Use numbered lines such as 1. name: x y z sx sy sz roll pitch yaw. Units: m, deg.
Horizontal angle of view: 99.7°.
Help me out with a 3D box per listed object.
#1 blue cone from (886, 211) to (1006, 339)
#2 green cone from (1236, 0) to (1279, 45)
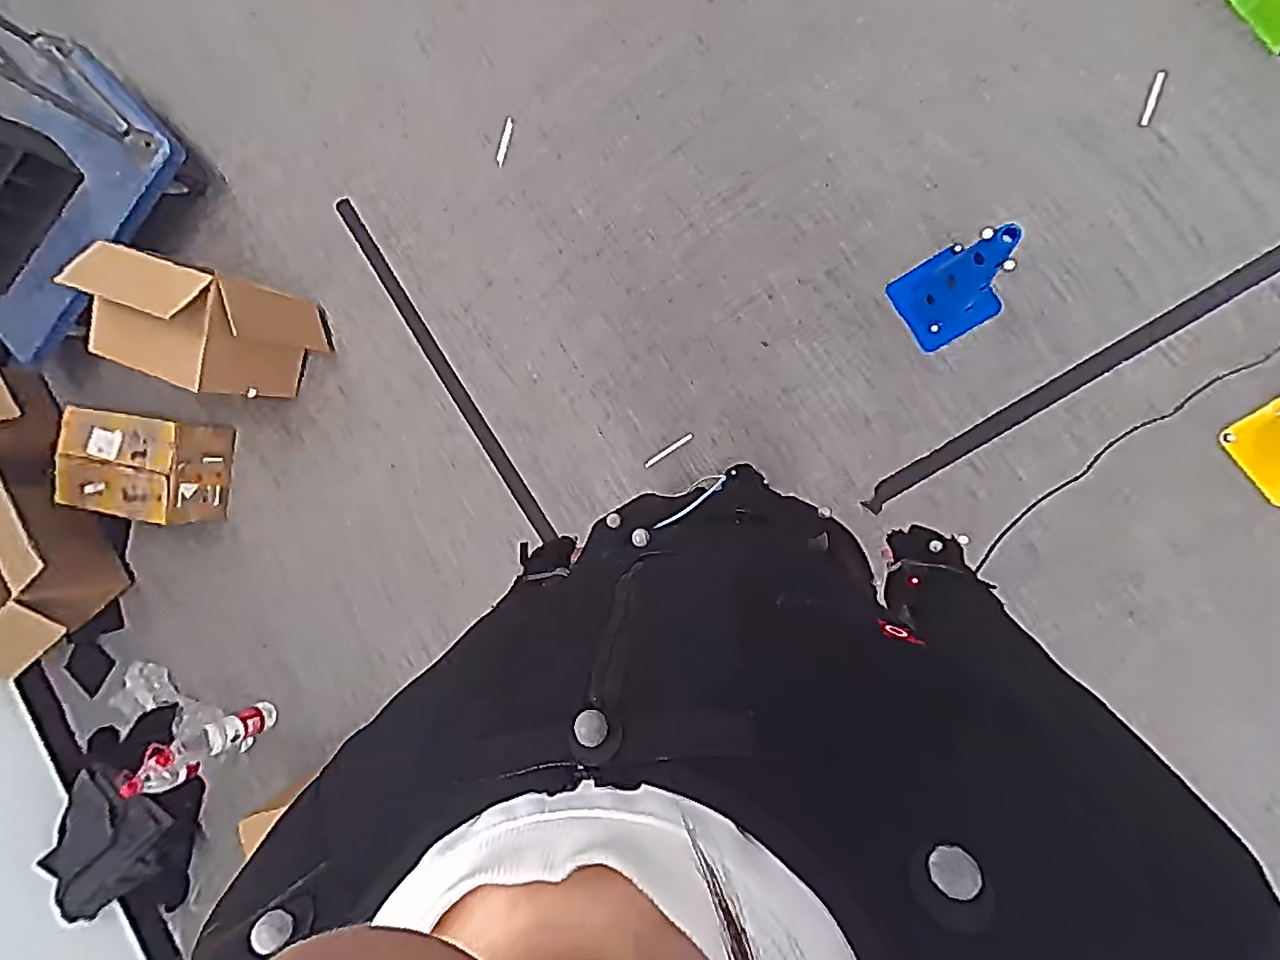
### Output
1. blue cone: 0.684 -0.455 1.147 0.193 0.380 0.192 -30 83 11
2. green cone: 1.370 -1.043 0.977 0.200 0.368 0.202 -33 82 11
